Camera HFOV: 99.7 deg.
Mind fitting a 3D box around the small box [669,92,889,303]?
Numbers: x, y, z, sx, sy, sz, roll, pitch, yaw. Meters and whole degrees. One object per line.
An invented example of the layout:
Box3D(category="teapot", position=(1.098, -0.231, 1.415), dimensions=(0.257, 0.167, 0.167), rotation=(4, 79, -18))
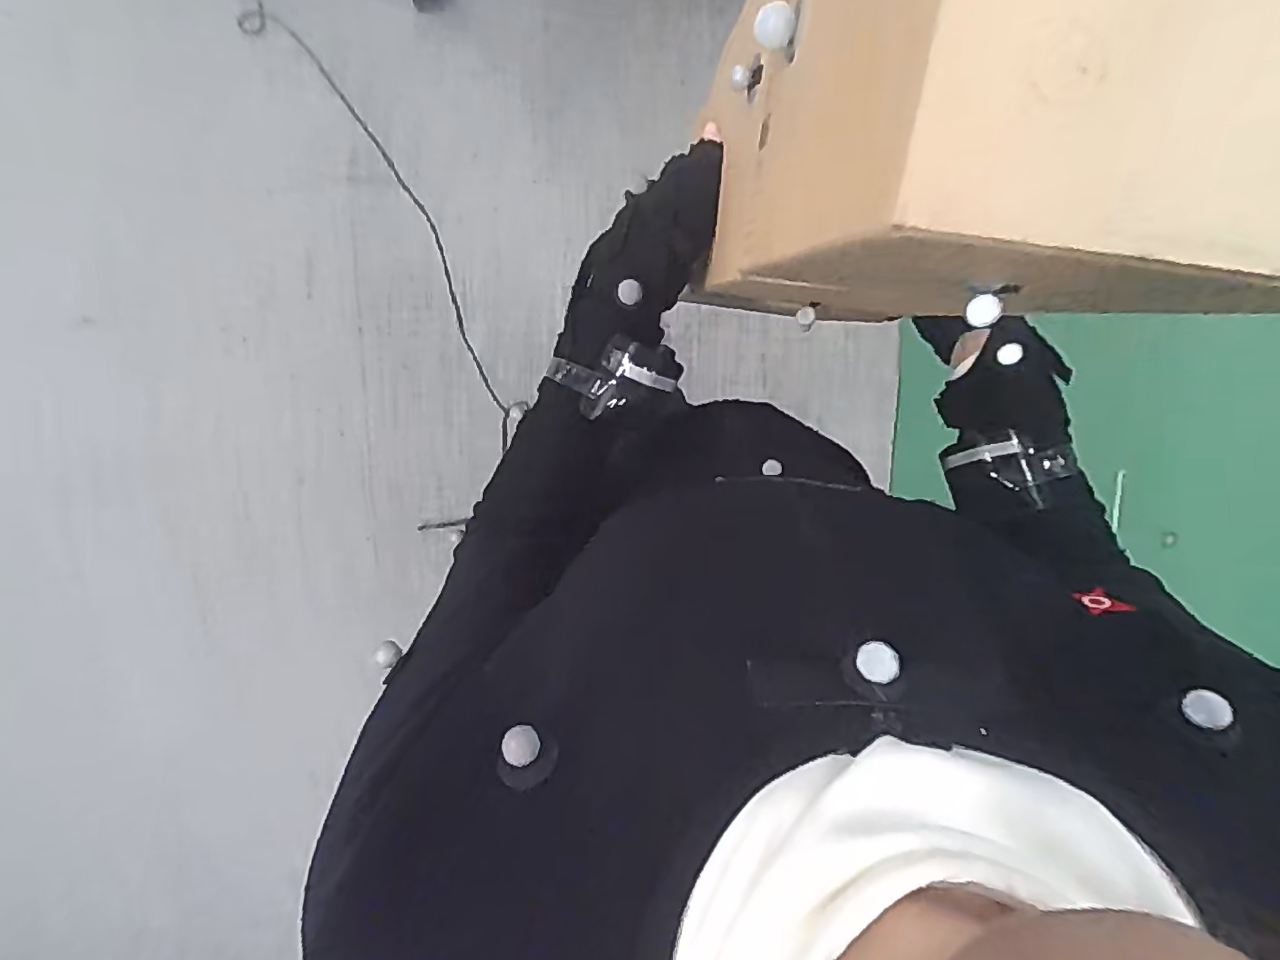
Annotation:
Box3D(category="small box", position=(0.131, -0.261, 0.506), dimensions=(0.179, 0.176, 0.168), rotation=(5, 106, -5))

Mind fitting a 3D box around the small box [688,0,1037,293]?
Box3D(category="small box", position=(0.140, -0.217, 0.348), dimensions=(0.179, 0.176, 0.168), rotation=(5, 106, -7))
